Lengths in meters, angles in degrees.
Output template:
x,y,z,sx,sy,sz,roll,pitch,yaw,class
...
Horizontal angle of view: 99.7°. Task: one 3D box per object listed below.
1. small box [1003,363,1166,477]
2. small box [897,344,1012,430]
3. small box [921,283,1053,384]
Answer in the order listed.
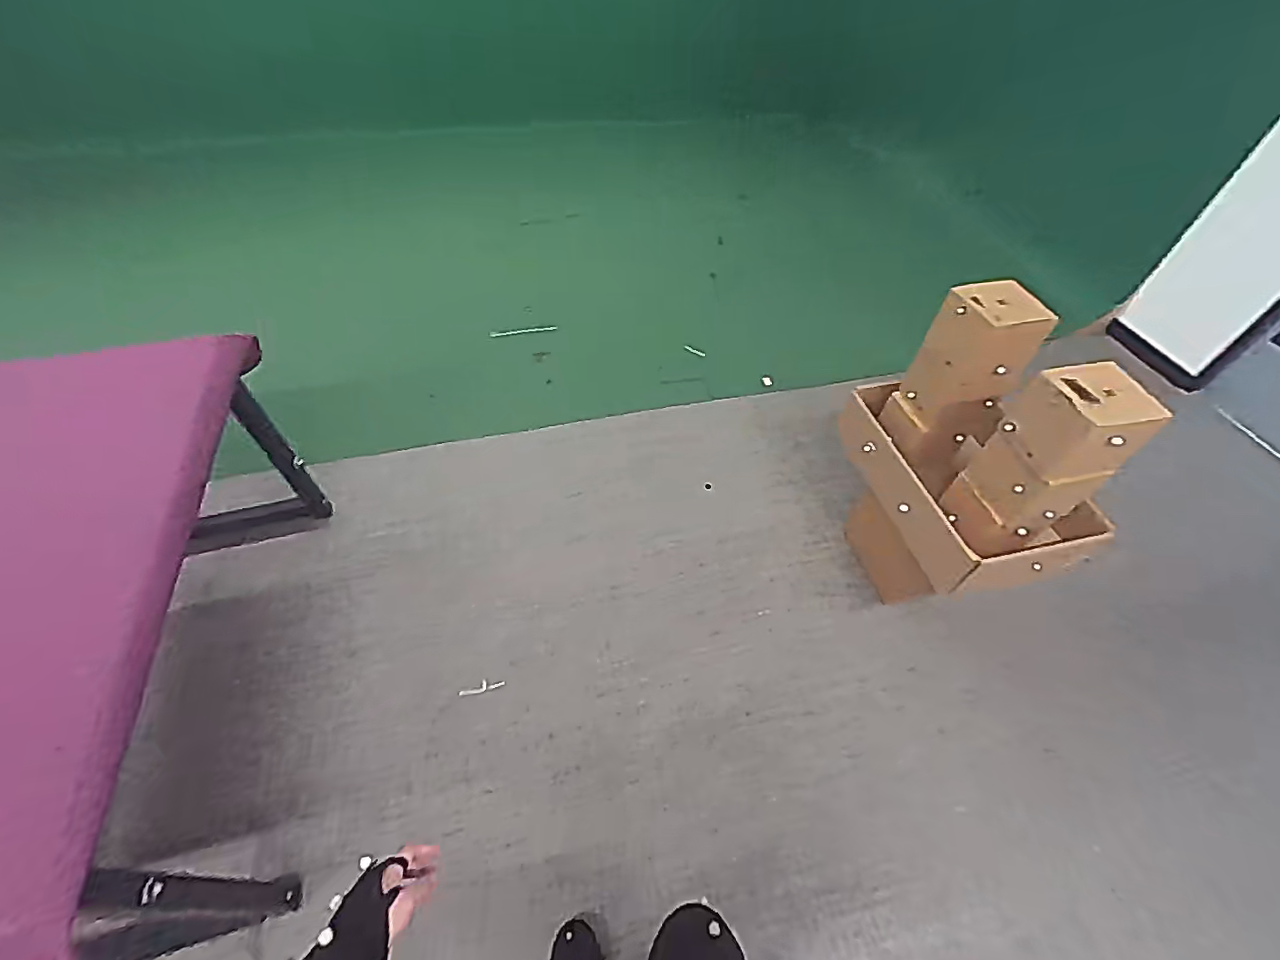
x,y,z,sx,sy,sz,roll,pitch,yaw,class
0.908,-0.121,1.134,0.179,0.176,0.168,-8,53,-9,small box
0.832,-0.254,1.449,0.179,0.176,0.168,-8,51,-8,small box
0.836,-0.356,1.321,0.179,0.176,0.168,-10,51,-12,small box
